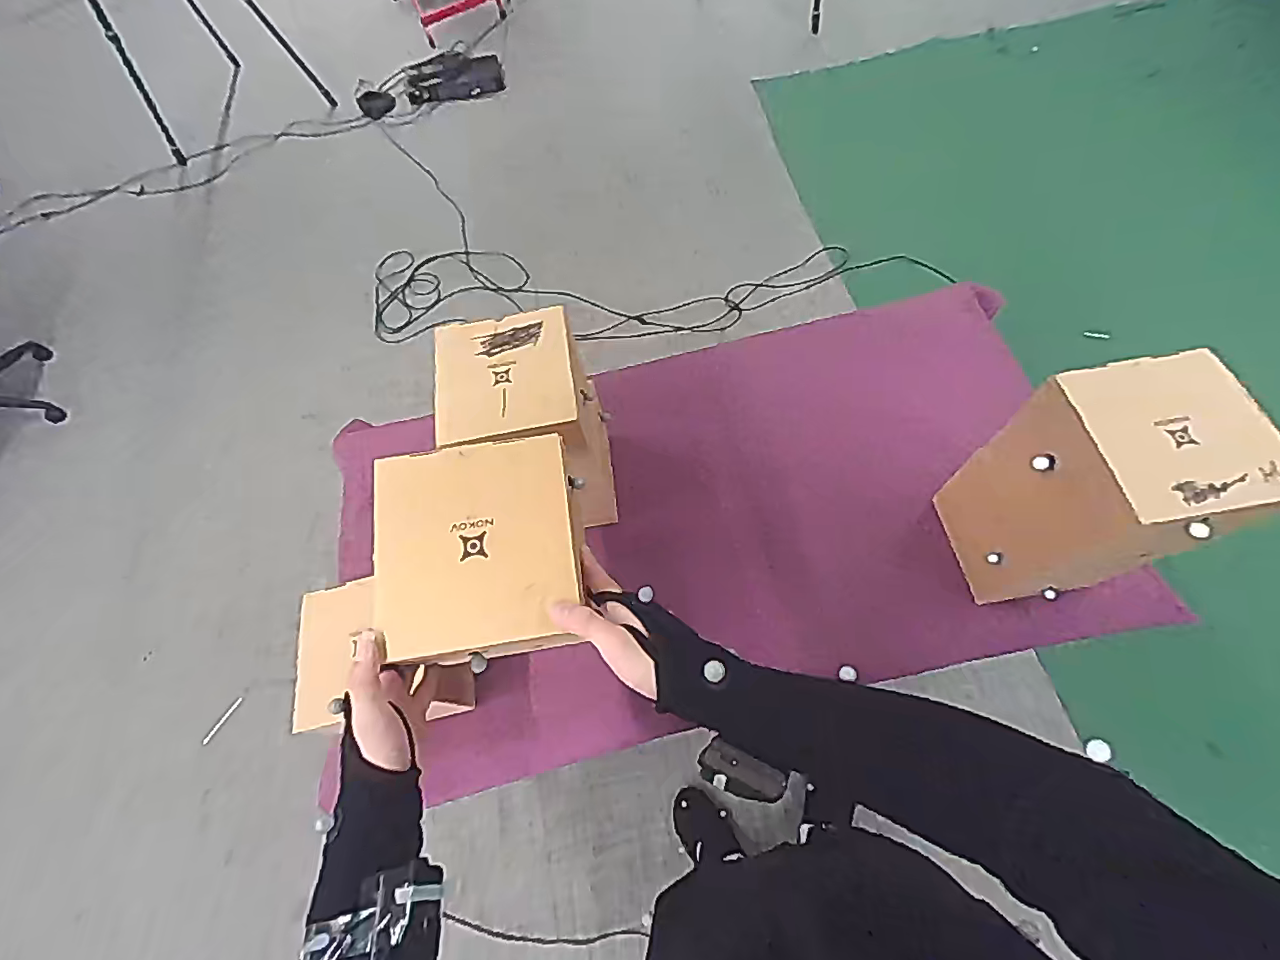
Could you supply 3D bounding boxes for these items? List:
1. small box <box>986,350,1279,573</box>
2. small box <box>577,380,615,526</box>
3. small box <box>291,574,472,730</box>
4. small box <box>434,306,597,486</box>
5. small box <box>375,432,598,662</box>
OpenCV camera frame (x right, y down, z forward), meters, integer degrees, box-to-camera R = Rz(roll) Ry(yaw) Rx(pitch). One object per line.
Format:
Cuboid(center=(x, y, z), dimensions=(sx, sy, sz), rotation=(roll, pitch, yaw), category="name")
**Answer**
Cuboid(center=(0.529, -0.013, 0.601), dimensions=(0.168, 0.176, 0.179), rotation=(-10, 63, 3), category="small box")
Cuboid(center=(-0.136, -0.032, 0.864), dimensions=(0.168, 0.176, 0.179), rotation=(-9, 65, 2), category="small box")
Cuboid(center=(-0.347, 0.240, 0.757), dimensions=(0.168, 0.176, 0.179), rotation=(-13, 64, 0), category="small box")
Cuboid(center=(-0.156, -0.095, 0.713), dimensions=(0.168, 0.176, 0.179), rotation=(-10, 65, 1), category="small box")
Cuboid(center=(-0.137, 0.074, 0.527), dimensions=(0.168, 0.176, 0.179), rotation=(-9, 71, -3), category="small box")
